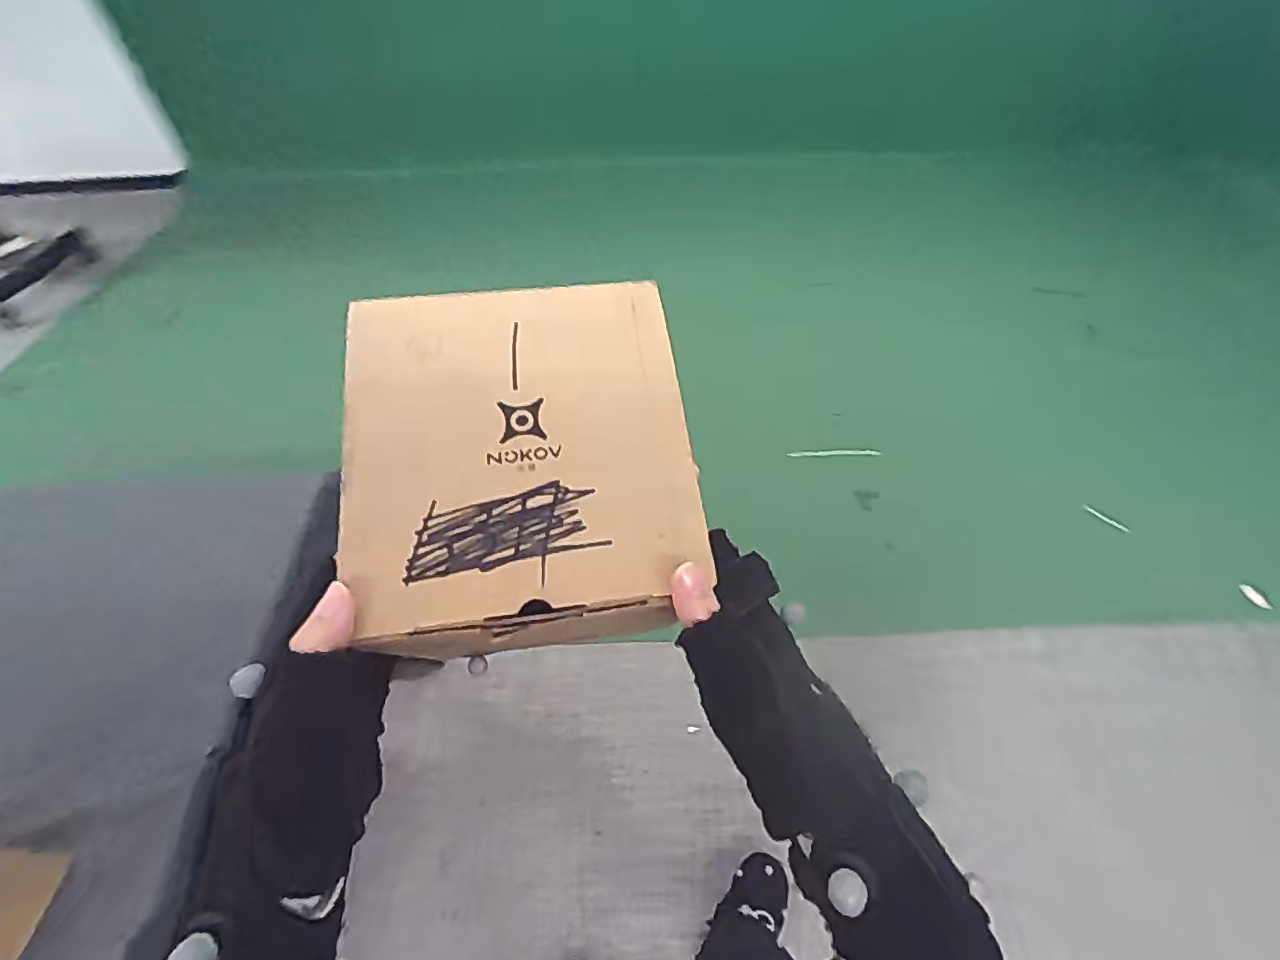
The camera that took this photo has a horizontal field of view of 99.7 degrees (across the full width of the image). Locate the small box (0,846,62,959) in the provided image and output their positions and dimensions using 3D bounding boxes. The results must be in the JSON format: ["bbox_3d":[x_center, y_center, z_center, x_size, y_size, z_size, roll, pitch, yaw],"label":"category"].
[{"bbox_3d":[-0.695,0.430,0.474,0.168,0.176,0.179,-5,50,0],"label":"small box"}]
